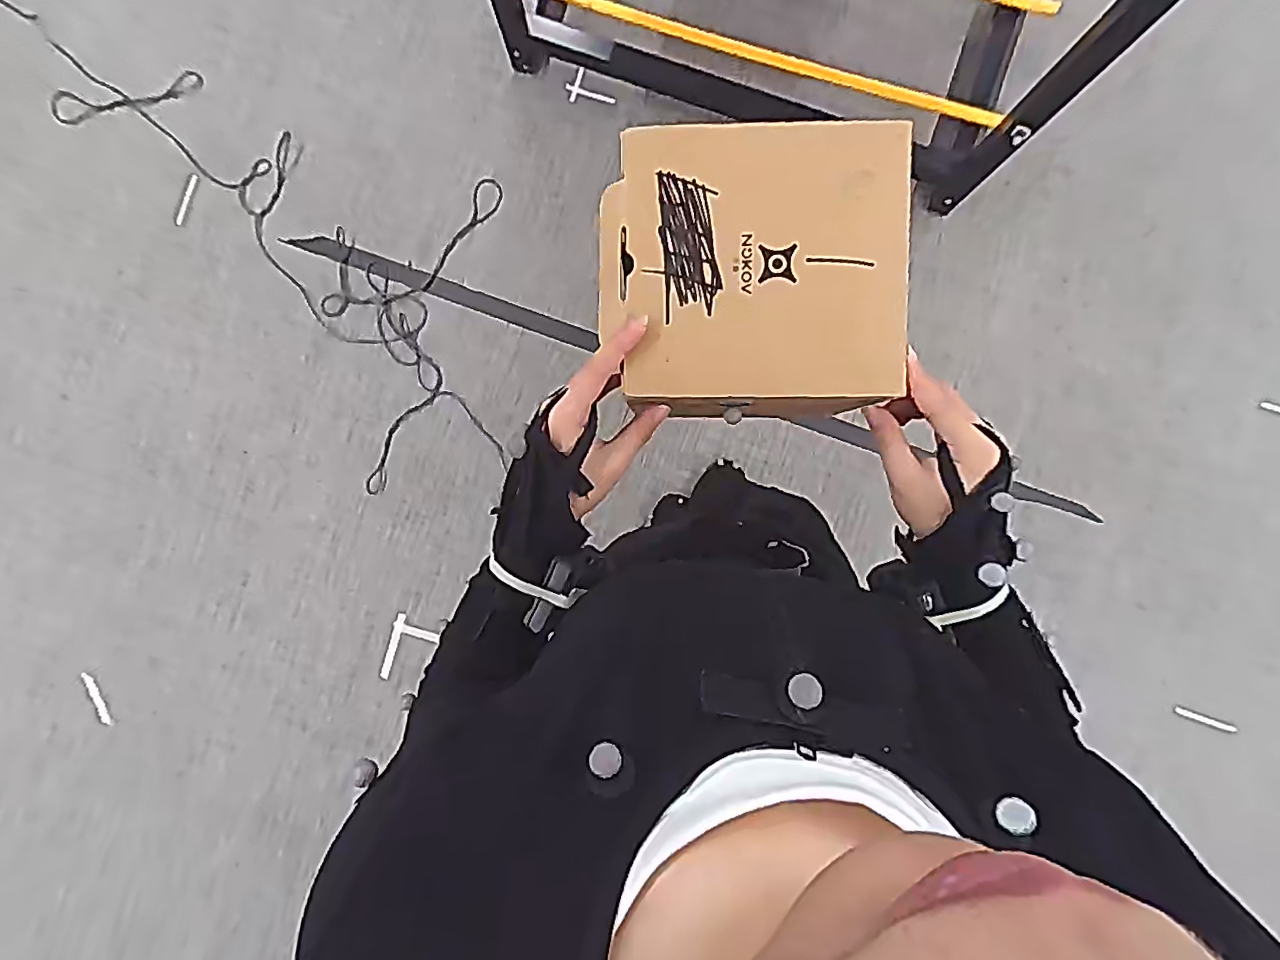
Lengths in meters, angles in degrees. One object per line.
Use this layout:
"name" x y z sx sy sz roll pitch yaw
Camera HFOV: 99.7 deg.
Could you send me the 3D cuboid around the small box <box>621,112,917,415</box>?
"small box" 0.080 -0.138 0.404 0.179 0.176 0.168 0 92 2
